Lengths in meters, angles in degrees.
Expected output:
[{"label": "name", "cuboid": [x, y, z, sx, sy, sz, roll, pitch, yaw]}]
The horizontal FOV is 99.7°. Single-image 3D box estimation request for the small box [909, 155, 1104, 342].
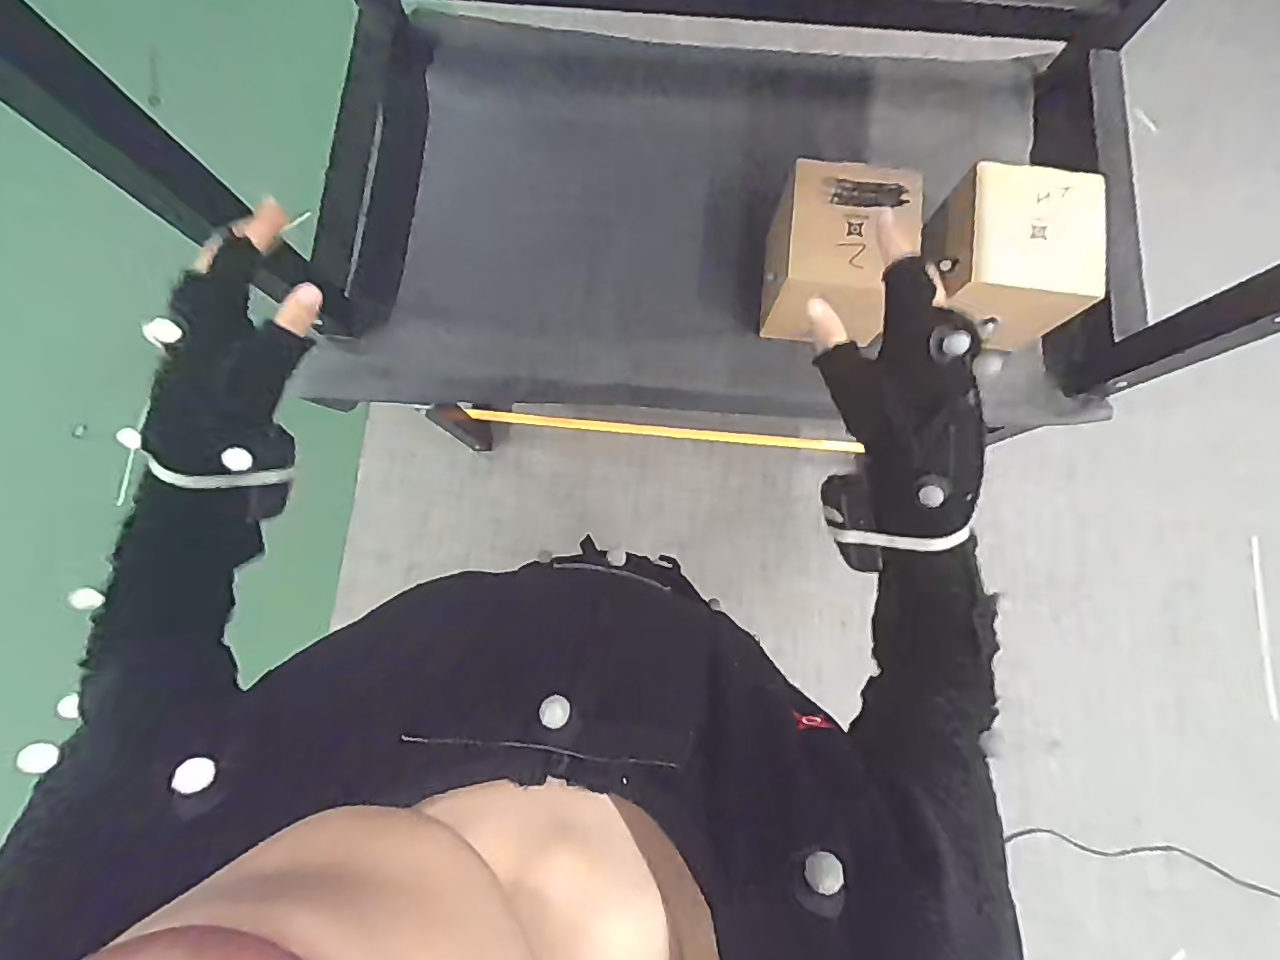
[{"label": "small box", "cuboid": [0.502, -0.313, 0.763, 0.168, 0.176, 0.179, 8, 80, 1]}]
